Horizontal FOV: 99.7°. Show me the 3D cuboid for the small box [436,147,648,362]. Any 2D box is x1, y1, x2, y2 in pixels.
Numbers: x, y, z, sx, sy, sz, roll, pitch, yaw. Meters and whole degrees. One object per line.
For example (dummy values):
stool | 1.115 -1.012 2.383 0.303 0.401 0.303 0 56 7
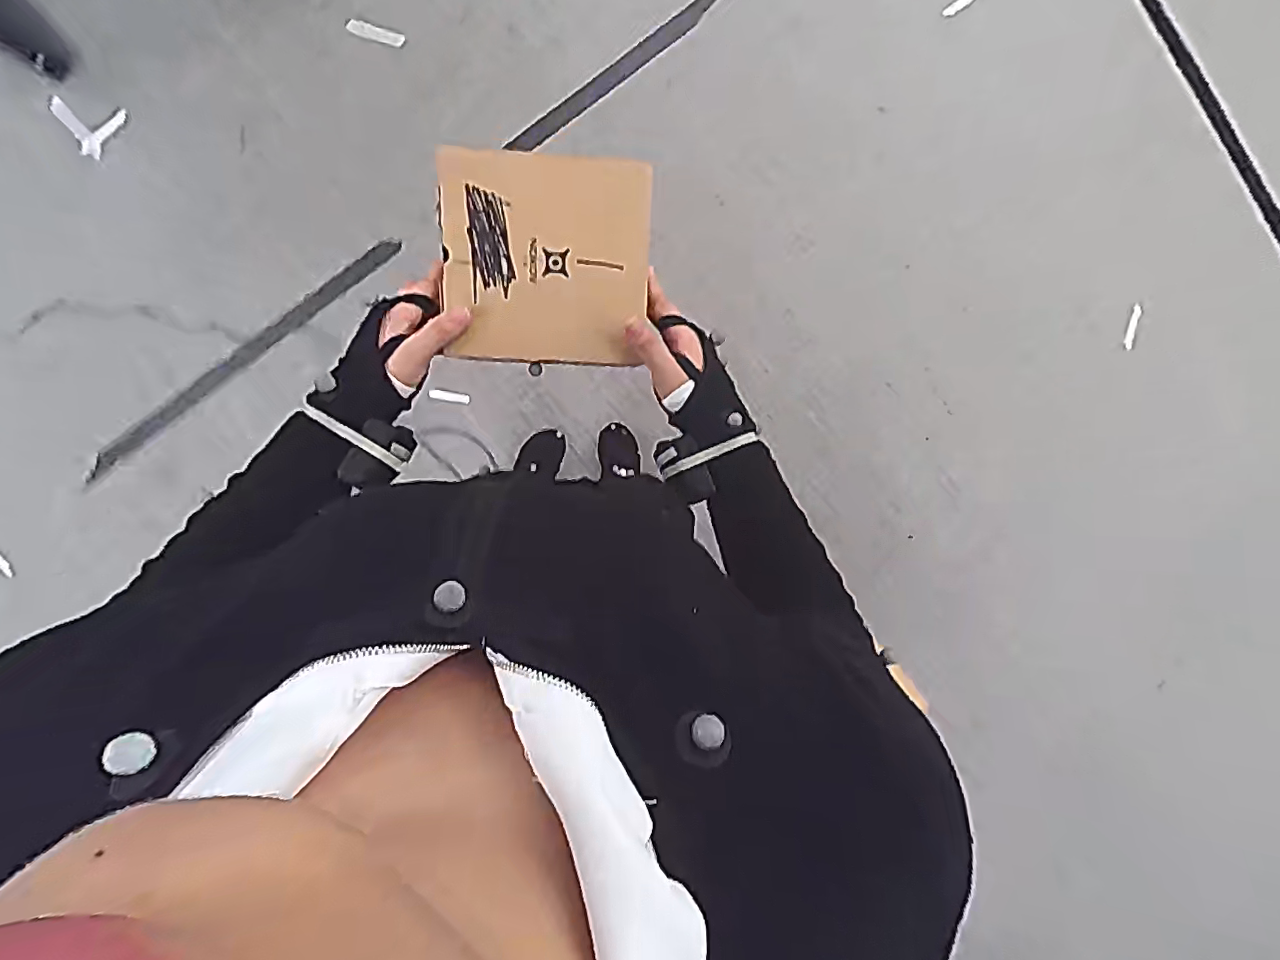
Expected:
small box | -0.087 -0.205 0.537 0.179 0.176 0.168 0 102 -5
